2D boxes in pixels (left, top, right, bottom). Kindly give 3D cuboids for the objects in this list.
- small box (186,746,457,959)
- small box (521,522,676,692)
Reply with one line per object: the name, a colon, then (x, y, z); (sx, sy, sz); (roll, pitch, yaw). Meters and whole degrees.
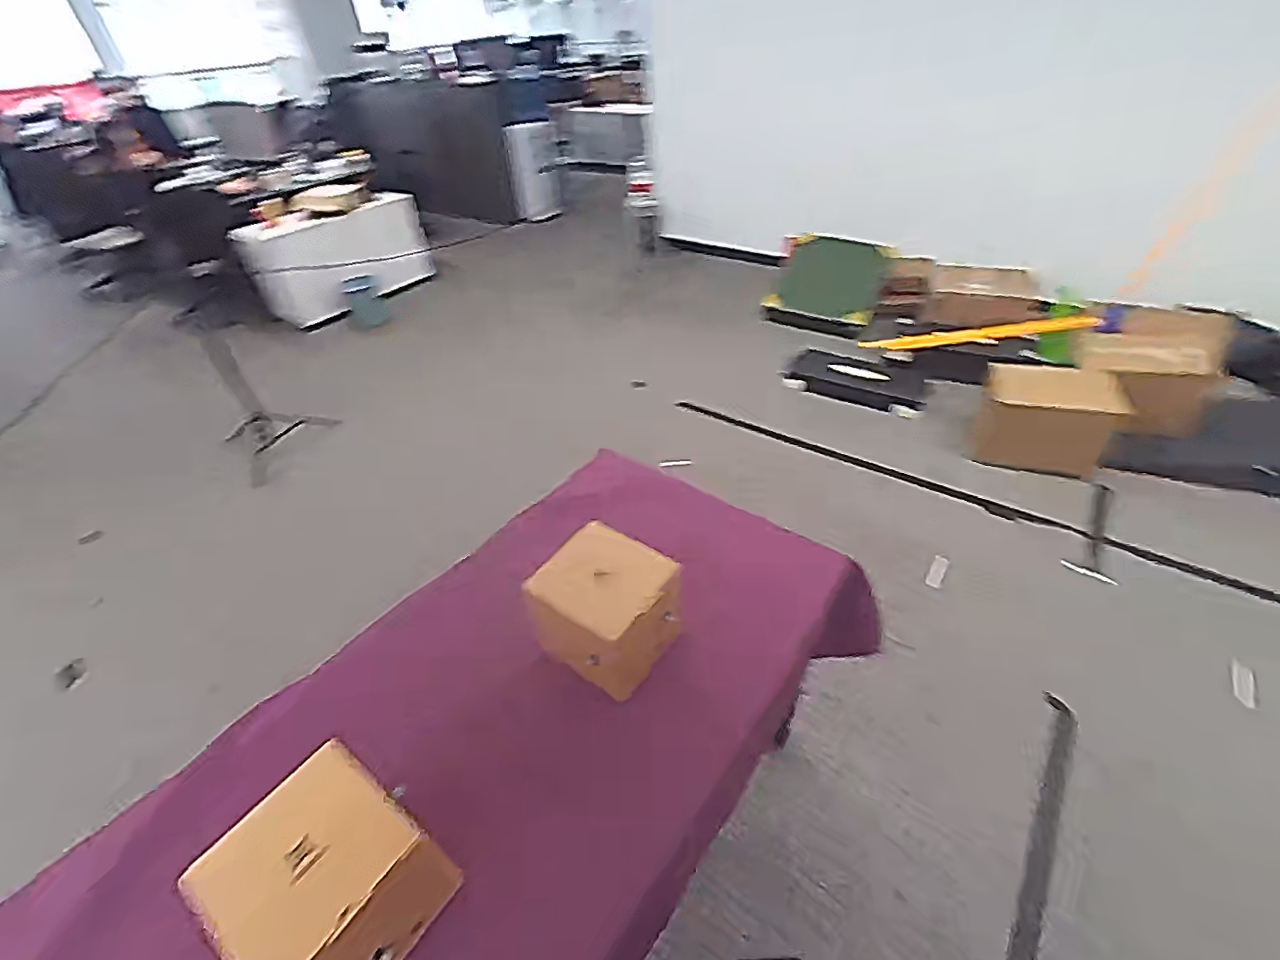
small box: (-0.338, 0.447, 0.603); (0.179, 0.176, 0.168); (23, 48, 27)
small box: (-0.056, 0.204, 0.855); (0.179, 0.176, 0.168); (23, 48, 28)
